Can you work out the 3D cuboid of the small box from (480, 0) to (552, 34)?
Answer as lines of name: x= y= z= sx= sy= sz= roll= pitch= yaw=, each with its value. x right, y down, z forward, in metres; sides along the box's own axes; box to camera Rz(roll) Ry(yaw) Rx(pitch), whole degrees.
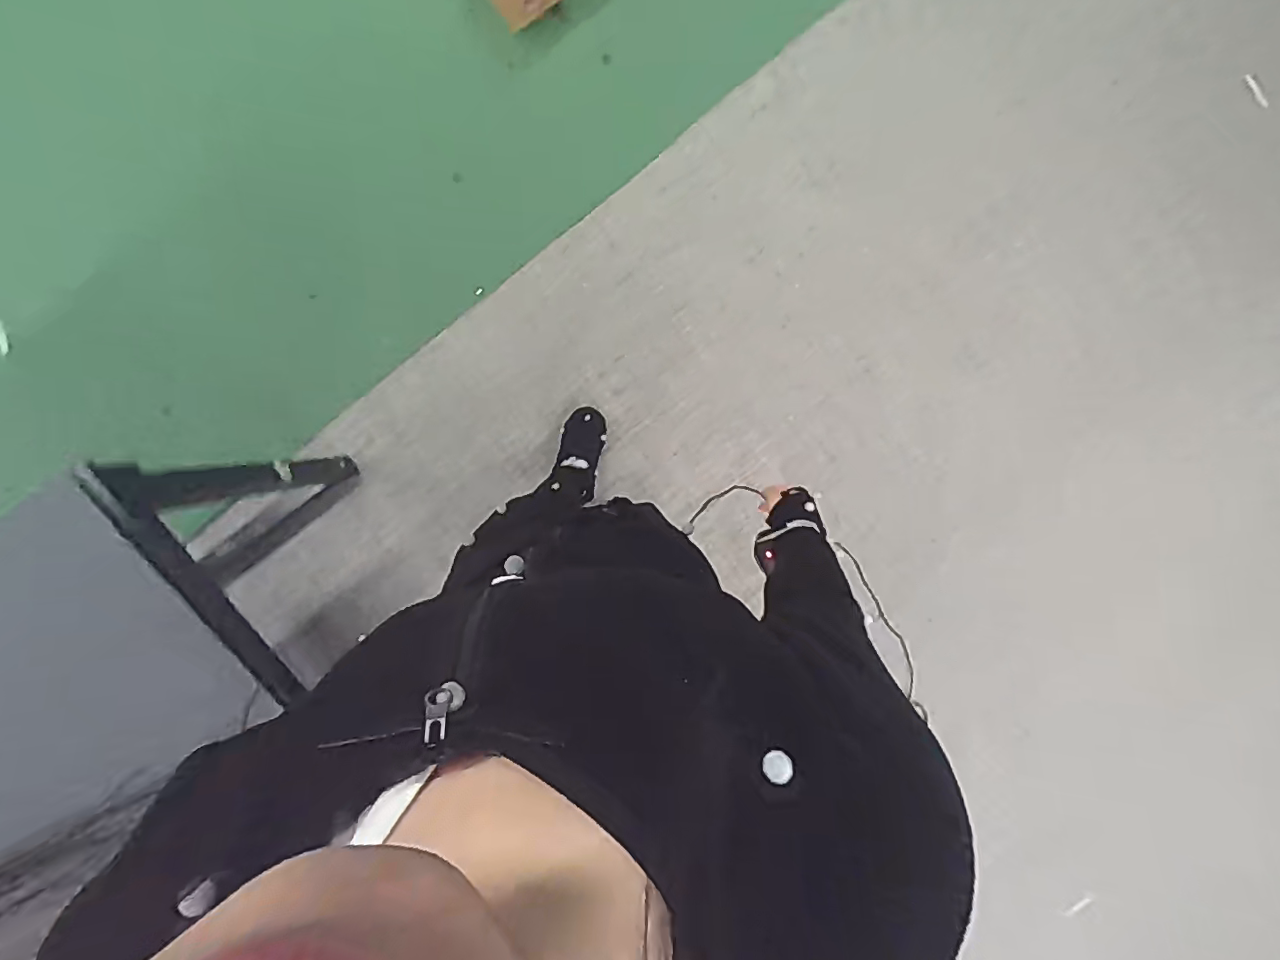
small box: x=-0.331 y=-1.253 z=1.308 sx=0.168 sy=0.176 sz=0.179 roll=-37 pitch=96 yaw=0
